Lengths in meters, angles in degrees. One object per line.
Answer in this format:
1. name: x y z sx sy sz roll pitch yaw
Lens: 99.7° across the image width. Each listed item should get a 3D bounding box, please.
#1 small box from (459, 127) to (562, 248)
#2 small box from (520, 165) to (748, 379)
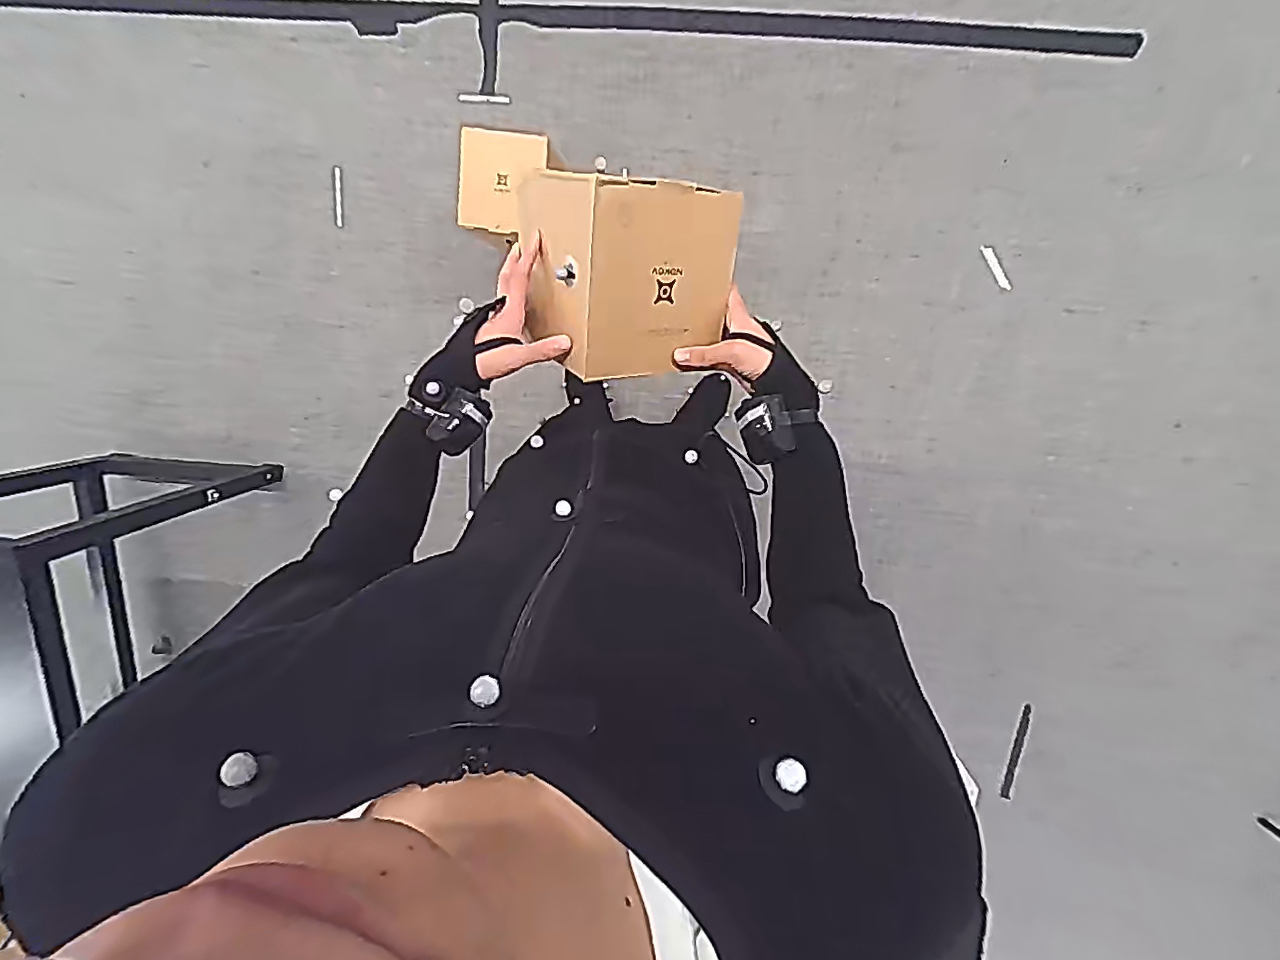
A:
1. small box: -0.252 -0.578 1.094 0.168 0.176 0.179 8 105 1
2. small box: -0.018 -0.219 0.563 0.168 0.176 0.179 -12 124 -31
